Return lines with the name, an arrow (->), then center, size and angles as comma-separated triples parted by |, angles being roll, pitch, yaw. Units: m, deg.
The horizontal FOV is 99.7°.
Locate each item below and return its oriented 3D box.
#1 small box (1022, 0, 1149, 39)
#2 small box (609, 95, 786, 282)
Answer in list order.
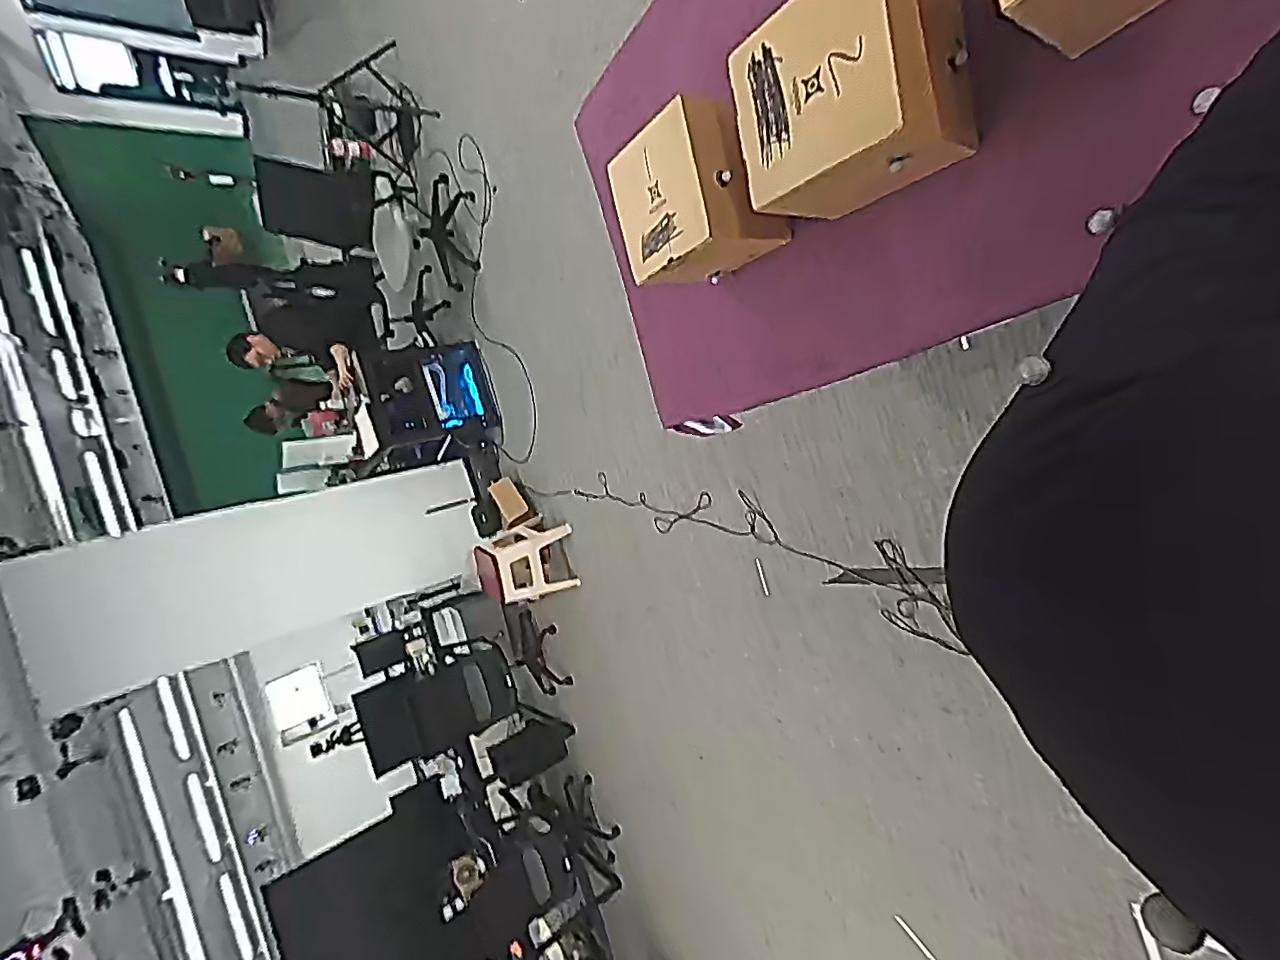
small box -> 0.352, -0.467, 0.380 | 0.168, 0.176, 0.179 | -14, 93, 55
small box -> 0.085, -0.401, 0.771 | 0.168, 0.176, 0.179 | -6, 99, 54
